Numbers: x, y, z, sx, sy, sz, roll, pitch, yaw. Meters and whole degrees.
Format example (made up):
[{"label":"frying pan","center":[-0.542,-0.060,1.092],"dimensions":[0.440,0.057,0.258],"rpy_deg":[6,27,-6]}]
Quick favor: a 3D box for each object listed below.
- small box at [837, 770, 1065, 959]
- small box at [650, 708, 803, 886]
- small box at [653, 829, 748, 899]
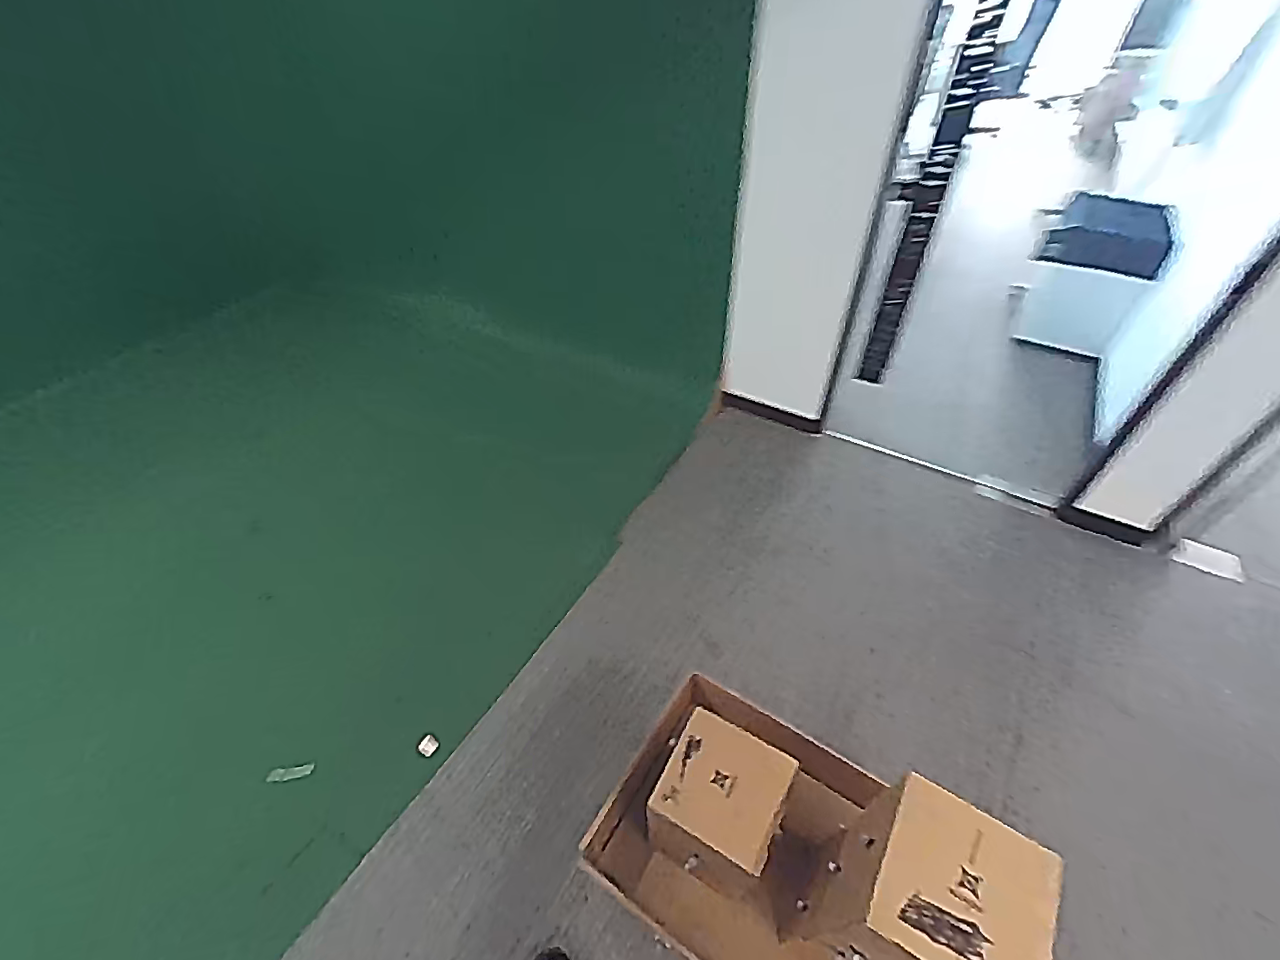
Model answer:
[{"label":"small box","center":[0.347,0.487,0.628],"dimensions":[0.168,0.176,0.179],"rpy_deg":[26,51,23]},{"label":"small box","center":[0.130,0.500,0.850],"dimensions":[0.179,0.176,0.168],"rpy_deg":[23,52,21]},{"label":"small box","center":[0.133,0.612,0.970],"dimensions":[0.179,0.176,0.168],"rpy_deg":[25,52,22]}]
